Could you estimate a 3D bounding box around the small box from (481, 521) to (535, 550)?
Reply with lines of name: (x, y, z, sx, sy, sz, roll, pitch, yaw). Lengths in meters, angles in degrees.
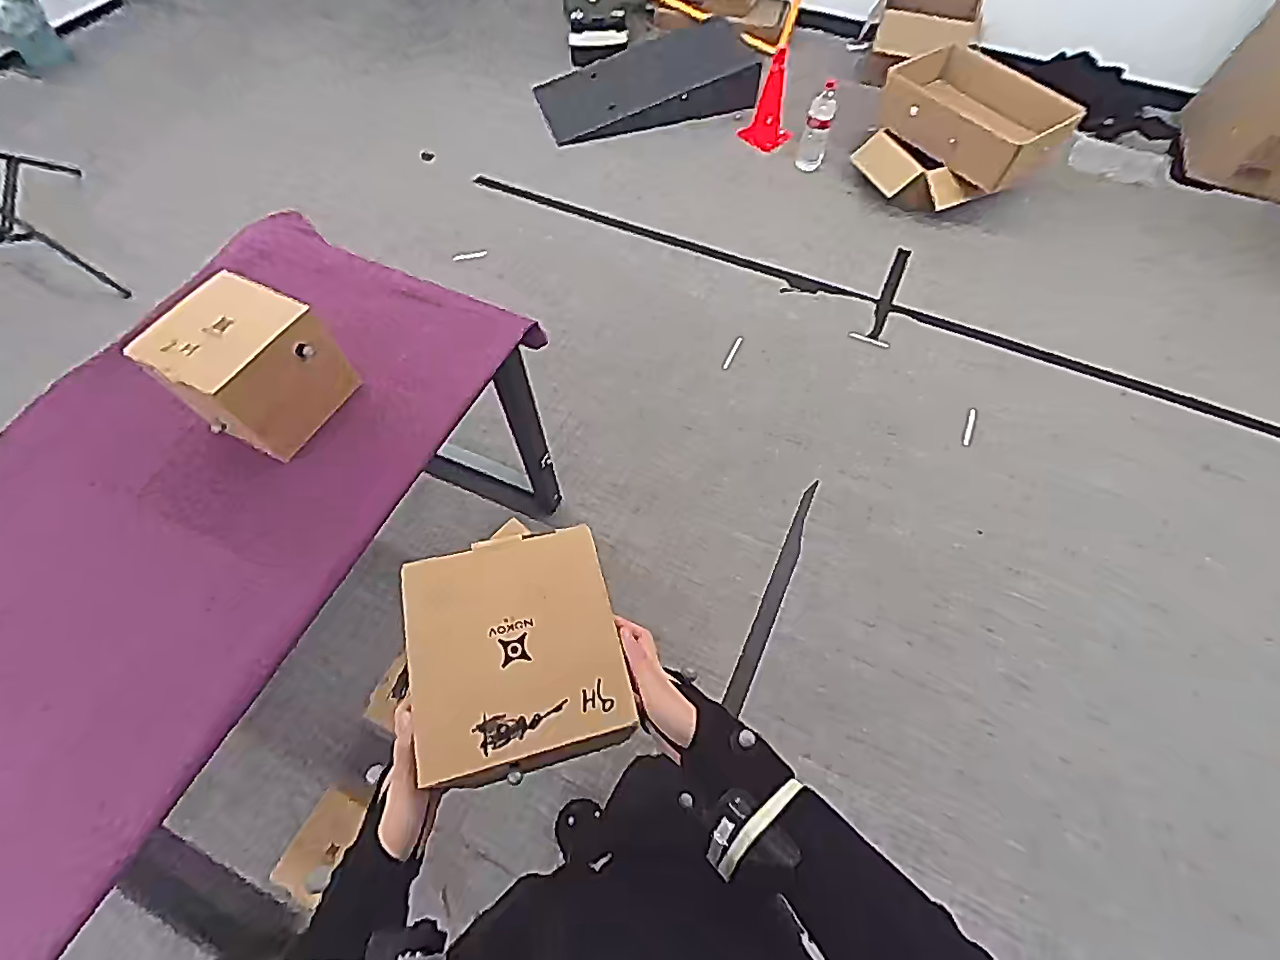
small box: (-0.323, 0.244, 1.413, 0.168, 0.176, 0.179, 39, 69, 18)

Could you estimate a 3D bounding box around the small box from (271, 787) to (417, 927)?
small box: (-0.602, 0.772, 1.128, 0.168, 0.176, 0.179, 25, 64, 11)

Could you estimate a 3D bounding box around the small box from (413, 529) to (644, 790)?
small box: (-0.101, 0.171, 0.503, 0.168, 0.176, 0.179, -11, 61, -11)

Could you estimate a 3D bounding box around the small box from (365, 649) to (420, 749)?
small box: (-0.488, 0.521, 1.261, 0.179, 0.176, 0.168, 22, 64, 10)

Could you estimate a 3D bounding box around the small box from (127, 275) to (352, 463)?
small box: (-0.563, -0.158, 0.796, 0.168, 0.176, 0.179, 24, 65, 13)
